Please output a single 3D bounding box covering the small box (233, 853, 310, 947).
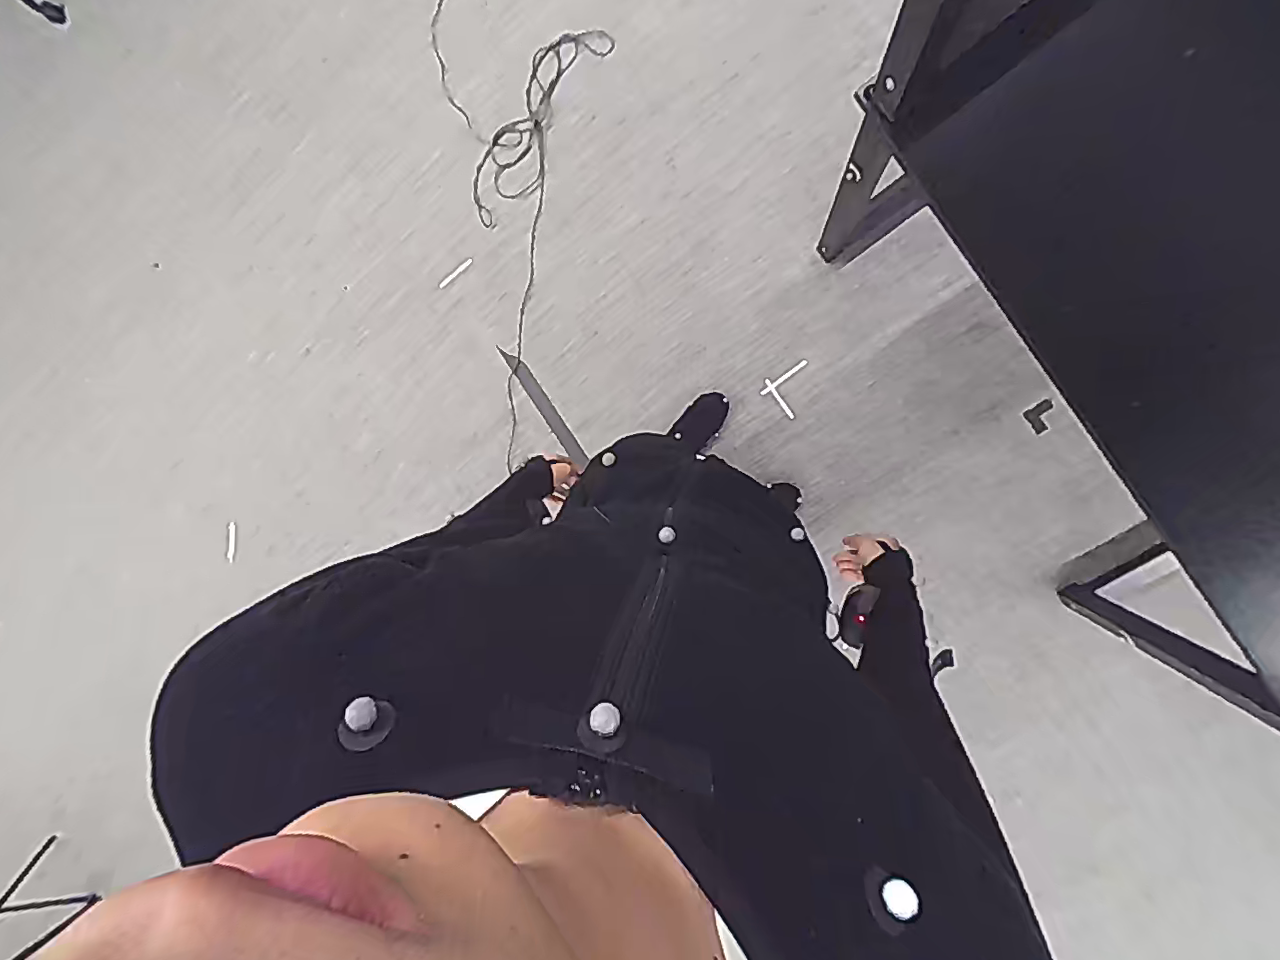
[{"bbox_3d":[-1.239,1.384,1.774,0.179,0.176,0.168,-36,89,14],"label":"small box"}]
